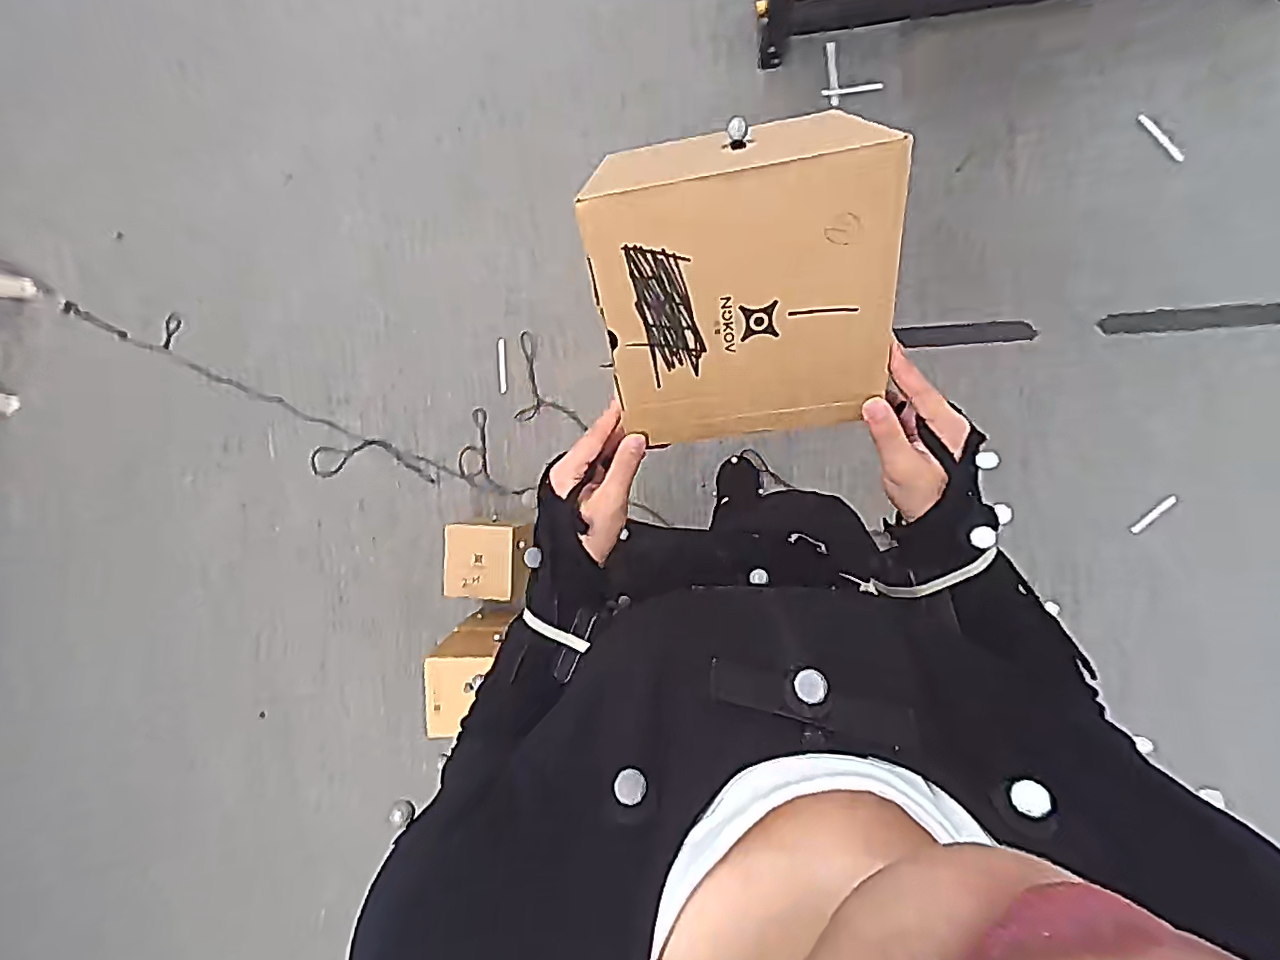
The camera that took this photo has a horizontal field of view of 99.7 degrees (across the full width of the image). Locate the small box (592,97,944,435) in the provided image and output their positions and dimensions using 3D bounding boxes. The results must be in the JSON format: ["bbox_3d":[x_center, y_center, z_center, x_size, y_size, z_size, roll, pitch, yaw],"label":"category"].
[{"bbox_3d":[0.077,-0.152,0.379,0.179,0.176,0.168,-6,128,8],"label":"small box"}]

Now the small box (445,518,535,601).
[{"bbox_3d":[-0.365,0.189,1.338,0.168,0.176,0.179,2,93,7],"label":"small box"}]
